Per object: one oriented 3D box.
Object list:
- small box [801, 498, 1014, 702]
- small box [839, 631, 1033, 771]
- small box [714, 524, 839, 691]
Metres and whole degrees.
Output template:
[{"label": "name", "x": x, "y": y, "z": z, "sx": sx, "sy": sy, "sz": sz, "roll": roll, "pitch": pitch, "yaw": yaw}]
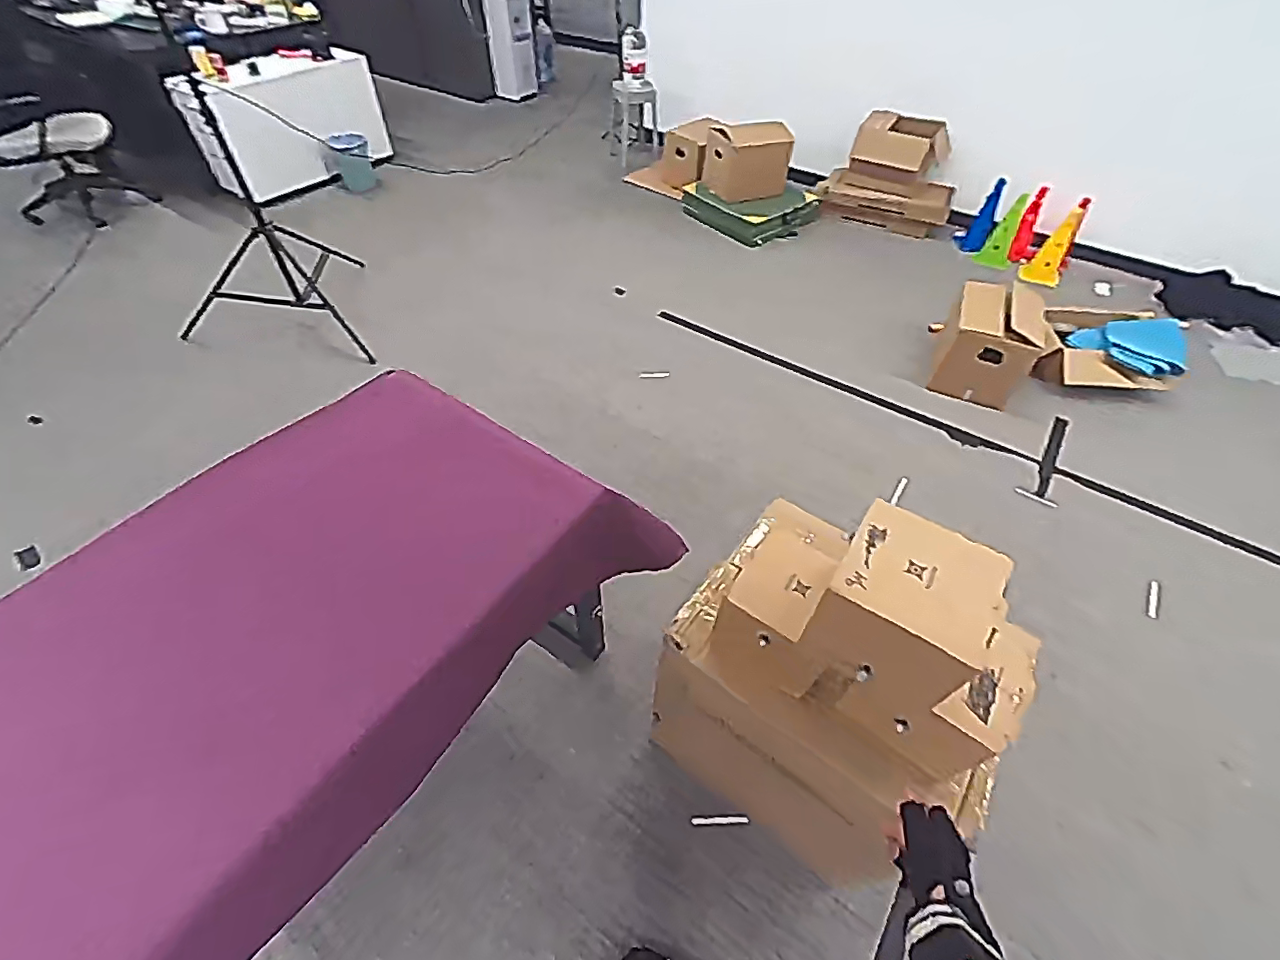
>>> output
[{"label": "small box", "x": 0.337, "y": 0.162, "z": 0.706, "sx": 0.179, "sy": 0.176, "sz": 0.168, "roll": 29, "pitch": 56, "yaw": 22}, {"label": "small box", "x": 0.428, "y": 0.300, "z": 0.803, "sx": 0.179, "sy": 0.176, "sz": 0.168, "roll": 31, "pitch": 57, "yaw": 25}, {"label": "small box", "x": 0.238, "y": 0.211, "z": 0.877, "sx": 0.179, "sy": 0.176, "sz": 0.168, "roll": 30, "pitch": 57, "yaw": 20}]
